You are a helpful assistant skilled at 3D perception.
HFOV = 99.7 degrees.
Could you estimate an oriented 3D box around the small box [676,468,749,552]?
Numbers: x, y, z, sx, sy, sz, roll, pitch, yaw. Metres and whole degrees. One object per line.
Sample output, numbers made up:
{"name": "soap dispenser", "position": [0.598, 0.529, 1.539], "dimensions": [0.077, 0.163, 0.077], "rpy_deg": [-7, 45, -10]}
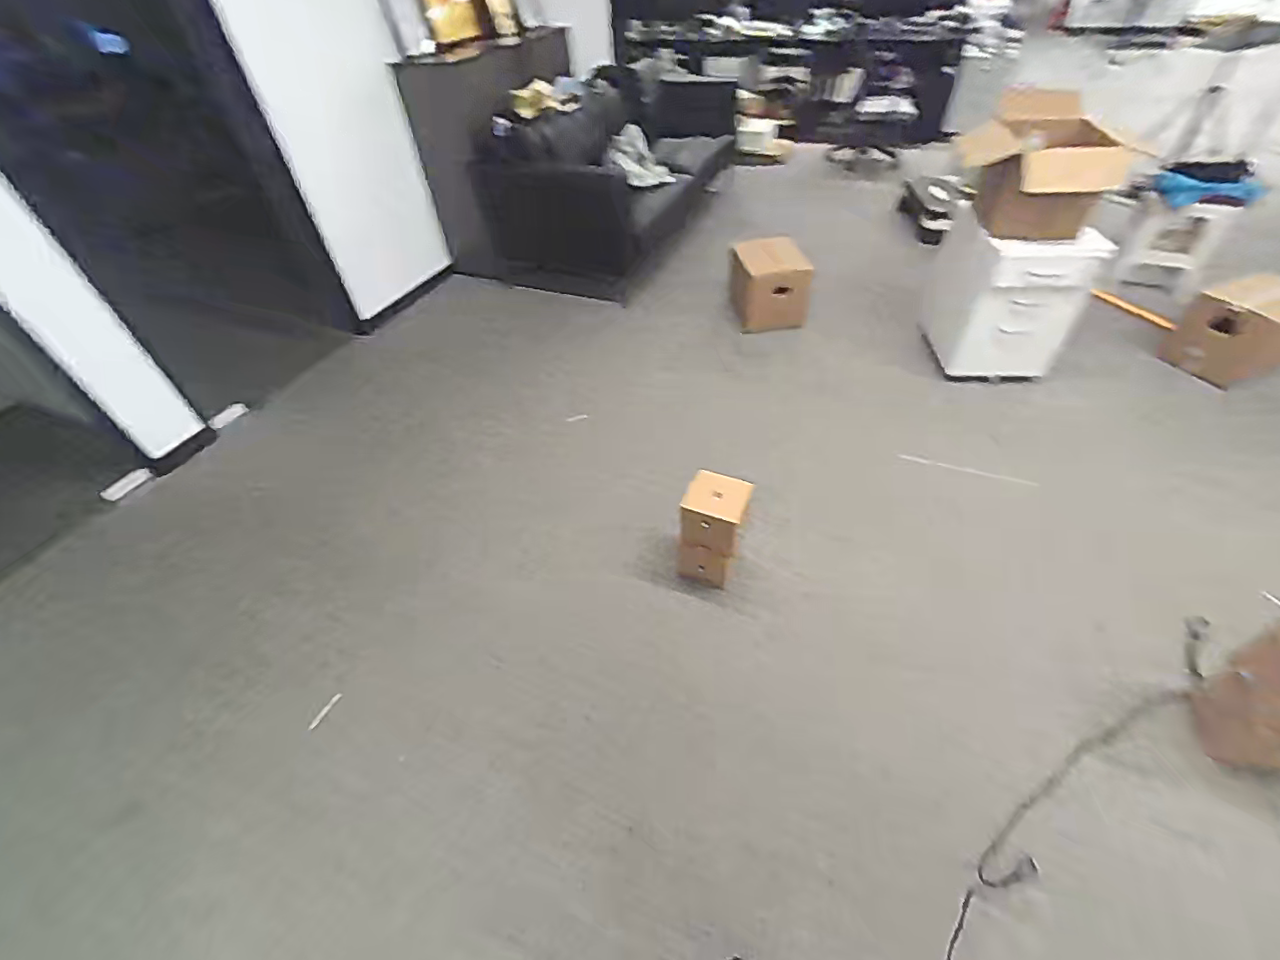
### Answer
{"name": "small box", "position": [0.221, 0.093, 1.648], "dimensions": [0.179, 0.176, 0.168], "rpy_deg": [16, 50, 19]}

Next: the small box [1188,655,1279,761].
{"name": "small box", "position": [1.477, 0.549, 1.293], "dimensions": [0.179, 0.176, 0.168], "rpy_deg": [9, 47, 13]}

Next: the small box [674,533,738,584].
{"name": "small box", "position": [0.221, 0.210, 1.761], "dimensions": [0.168, 0.176, 0.179], "rpy_deg": [15, 49, 19]}
